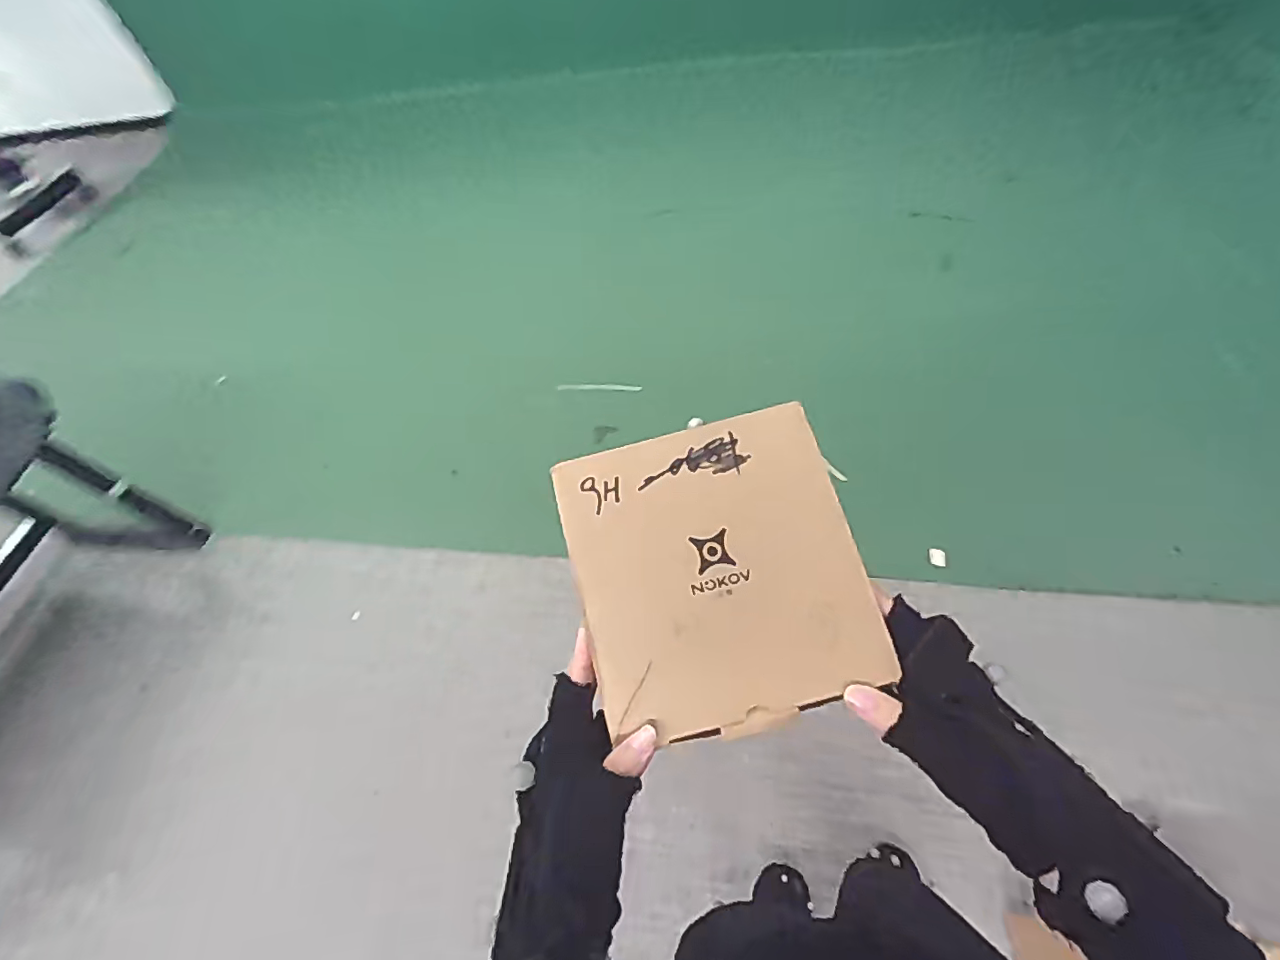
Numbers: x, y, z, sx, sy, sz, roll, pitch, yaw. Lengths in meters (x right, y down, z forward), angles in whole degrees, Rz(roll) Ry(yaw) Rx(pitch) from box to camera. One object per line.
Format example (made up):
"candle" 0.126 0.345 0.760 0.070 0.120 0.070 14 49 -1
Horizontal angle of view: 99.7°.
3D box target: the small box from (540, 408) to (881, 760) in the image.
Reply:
"small box" 0.040 0.074 0.398 0.168 0.176 0.179 -16 75 -2
